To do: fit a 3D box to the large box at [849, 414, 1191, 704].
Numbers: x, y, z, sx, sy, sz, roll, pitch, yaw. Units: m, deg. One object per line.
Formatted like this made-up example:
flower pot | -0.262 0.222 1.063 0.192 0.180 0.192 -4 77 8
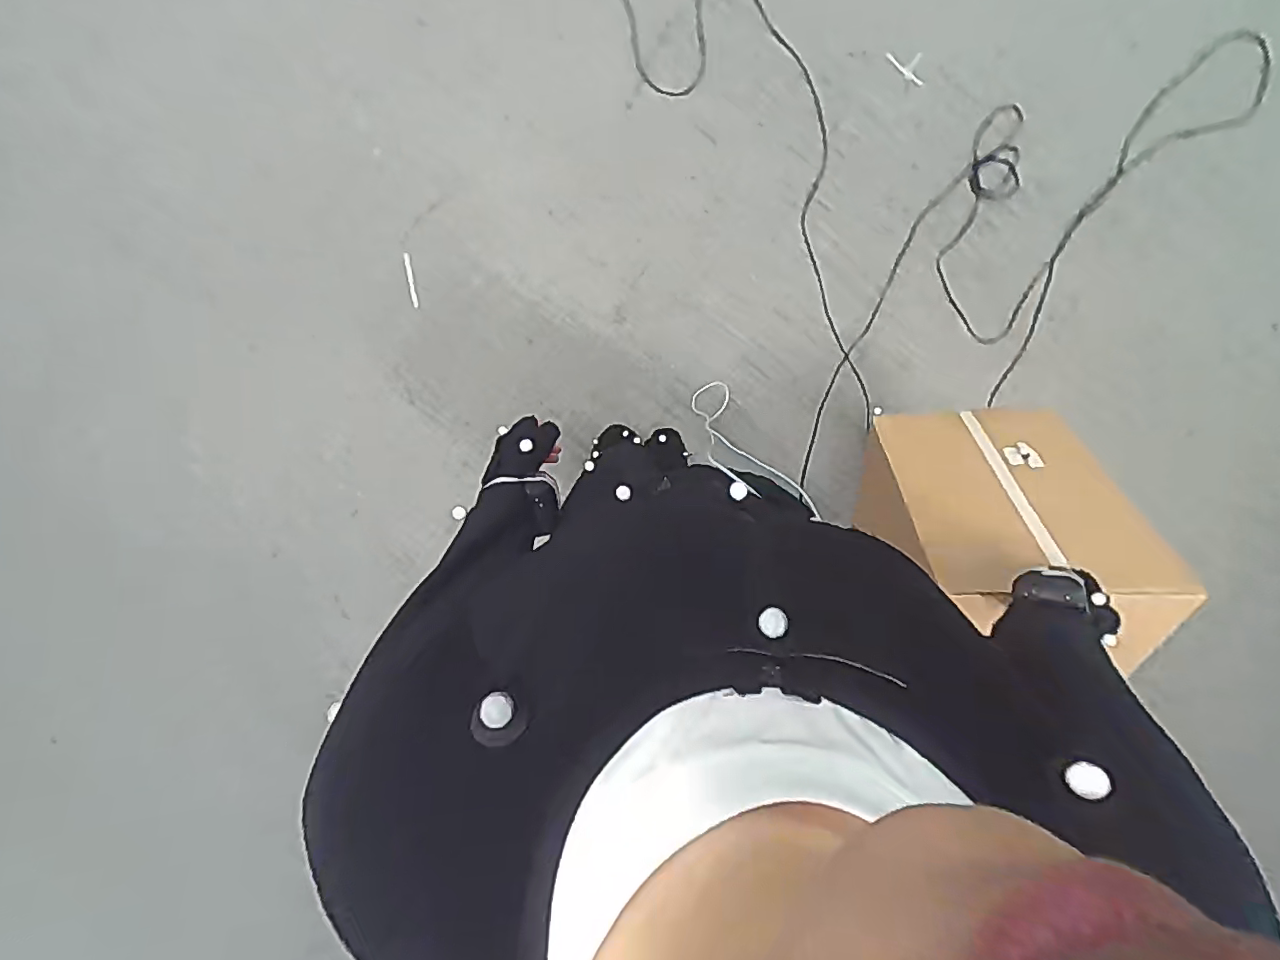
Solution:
large box | 0.580 0.129 0.943 0.320 0.408 0.320 -1 131 7
